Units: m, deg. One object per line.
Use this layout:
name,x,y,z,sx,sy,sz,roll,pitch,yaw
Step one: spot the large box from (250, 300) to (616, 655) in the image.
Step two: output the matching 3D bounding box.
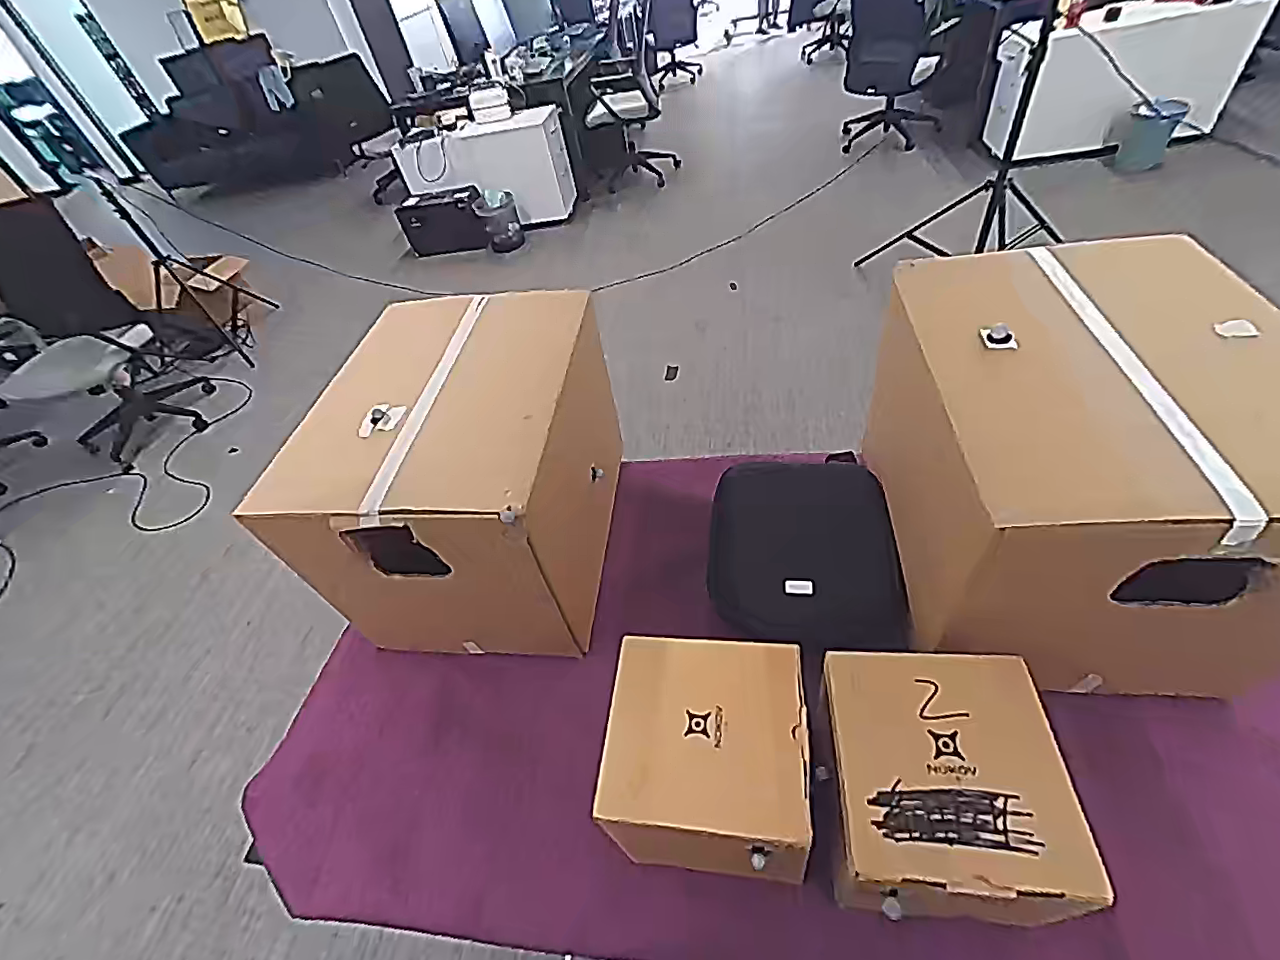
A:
large box,-0.220,-0.006,0.769,0.320,0.320,0.408,-2,49,9
